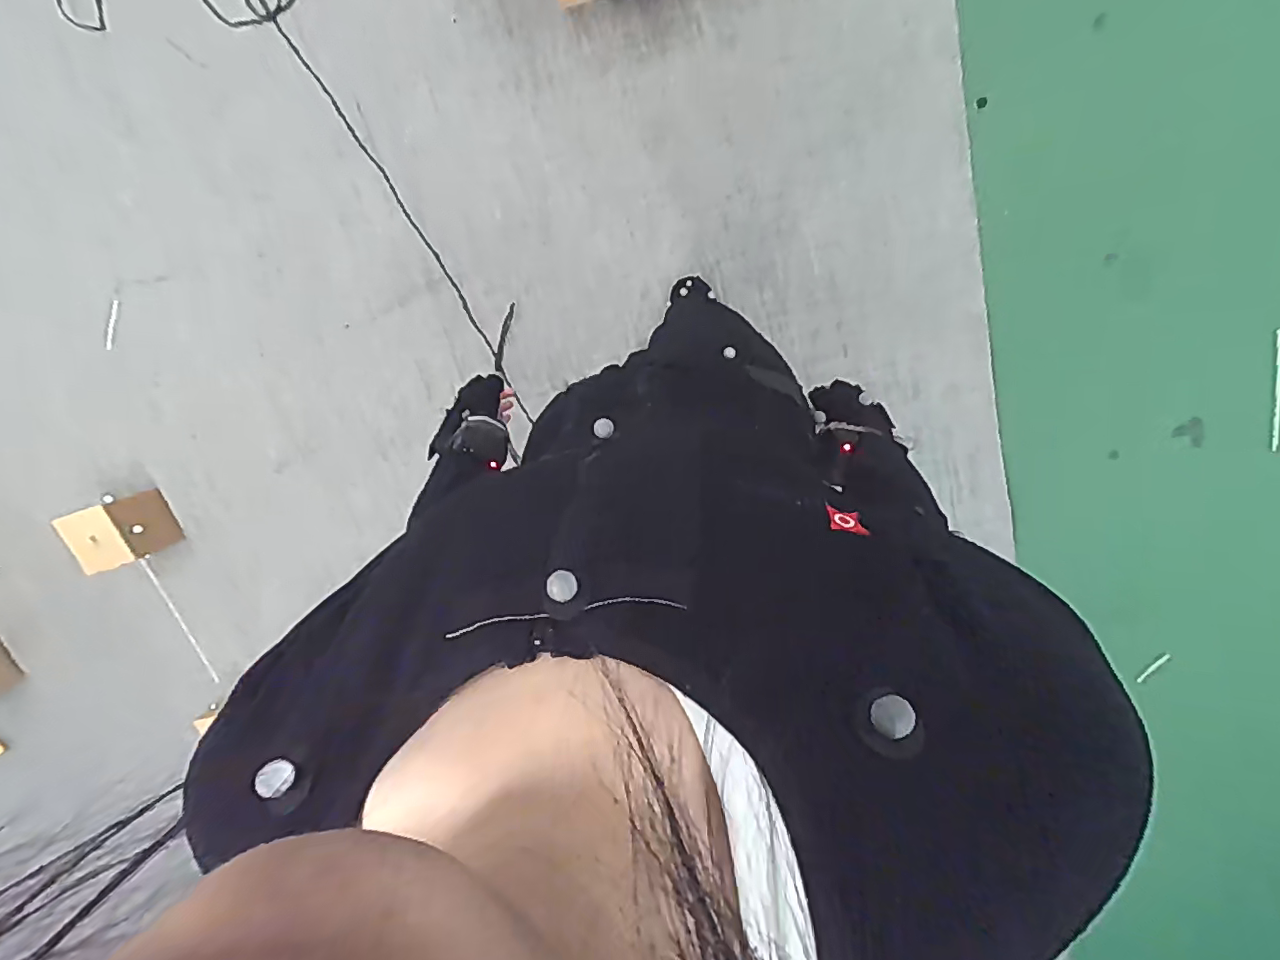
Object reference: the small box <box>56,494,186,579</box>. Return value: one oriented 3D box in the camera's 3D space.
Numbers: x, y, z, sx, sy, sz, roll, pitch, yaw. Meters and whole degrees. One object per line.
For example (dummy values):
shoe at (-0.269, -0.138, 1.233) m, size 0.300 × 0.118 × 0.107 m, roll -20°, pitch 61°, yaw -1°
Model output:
small box at (-1.477, 0.153, 1.551) m, size 0.168 × 0.176 × 0.179 m, roll -17°, pitch 107°, yaw 8°

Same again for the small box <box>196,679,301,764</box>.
small box at (-1.248, 0.772, 1.737) m, size 0.179 × 0.176 × 0.168 m, roll -17°, pitch 106°, yaw 8°
